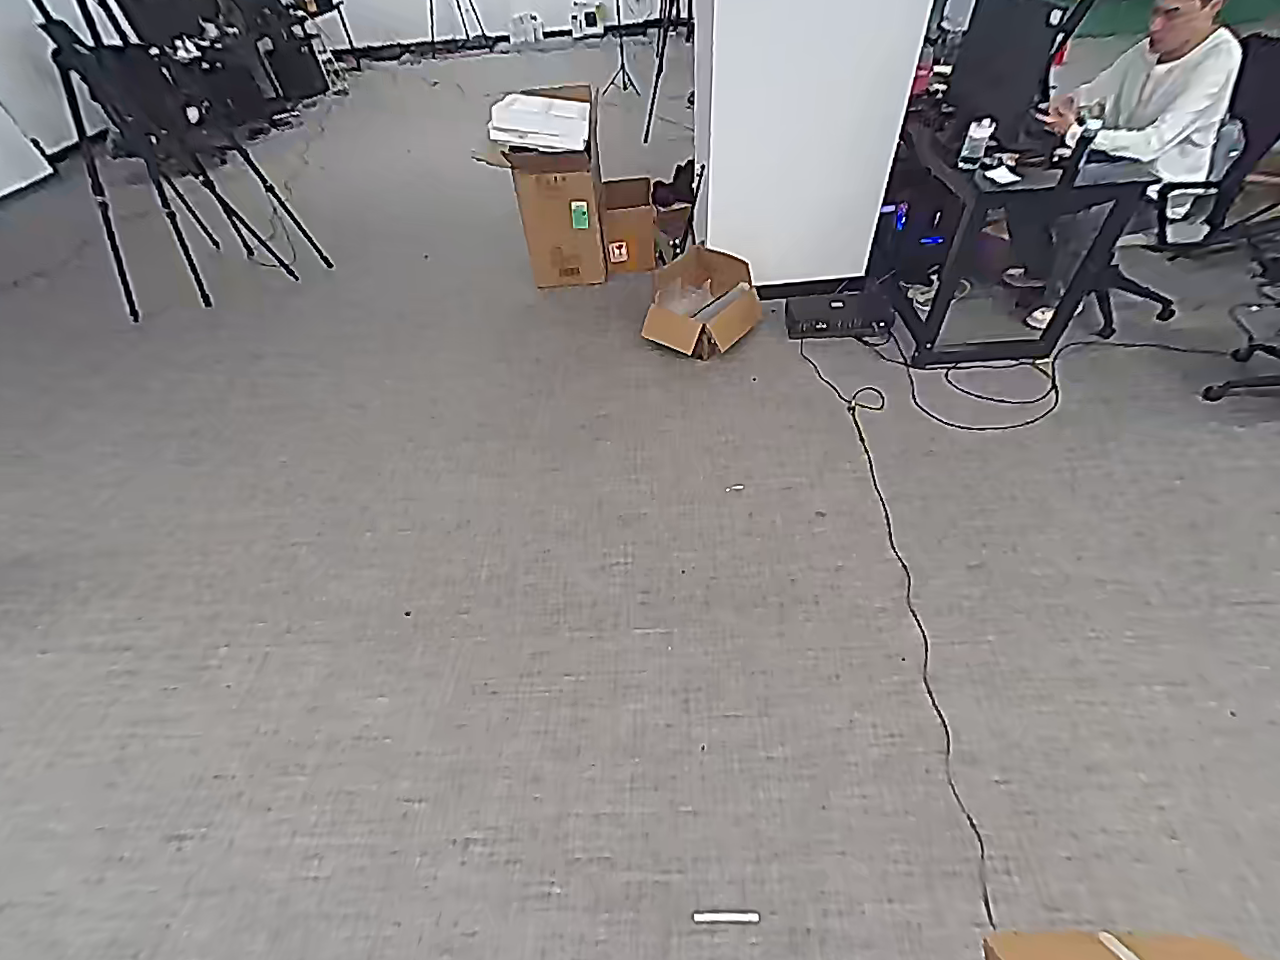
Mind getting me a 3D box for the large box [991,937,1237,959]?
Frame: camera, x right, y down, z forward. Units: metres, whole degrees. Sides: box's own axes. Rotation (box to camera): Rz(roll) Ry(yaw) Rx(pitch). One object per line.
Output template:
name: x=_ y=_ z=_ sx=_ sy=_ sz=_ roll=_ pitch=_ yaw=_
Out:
large box: x=0.624 y=0.755 z=0.529 sx=0.320 sy=0.408 sz=0.320 roll=-4 pitch=79 yaw=7
